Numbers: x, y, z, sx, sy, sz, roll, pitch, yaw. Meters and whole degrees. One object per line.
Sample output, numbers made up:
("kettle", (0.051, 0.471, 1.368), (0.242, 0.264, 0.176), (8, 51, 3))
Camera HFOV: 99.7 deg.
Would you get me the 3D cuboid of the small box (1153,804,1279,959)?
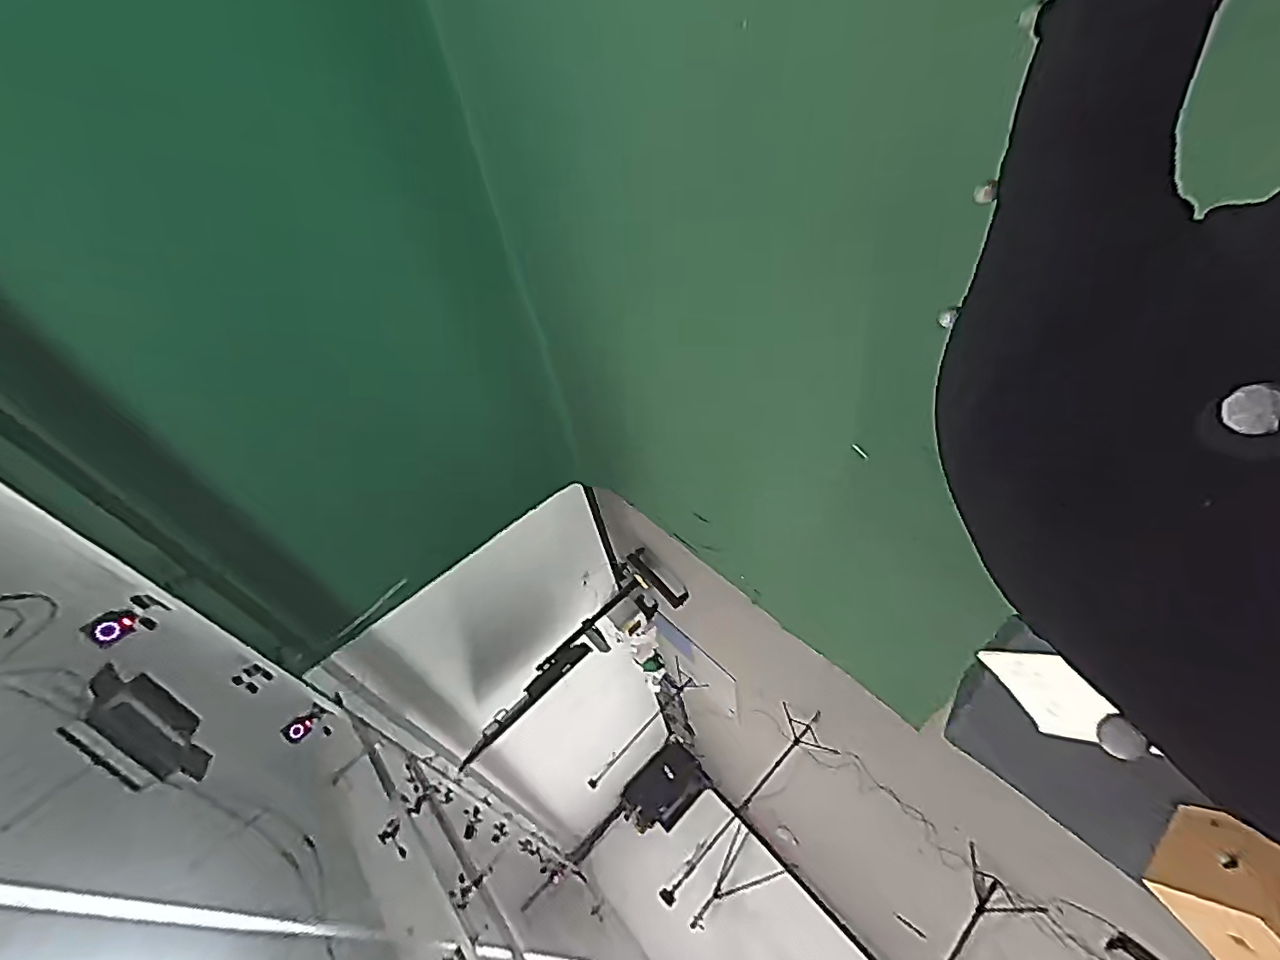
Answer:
("small box", (0.979, 0.649, 0.843), (0.179, 0.176, 0.168), (47, 158, 8))
